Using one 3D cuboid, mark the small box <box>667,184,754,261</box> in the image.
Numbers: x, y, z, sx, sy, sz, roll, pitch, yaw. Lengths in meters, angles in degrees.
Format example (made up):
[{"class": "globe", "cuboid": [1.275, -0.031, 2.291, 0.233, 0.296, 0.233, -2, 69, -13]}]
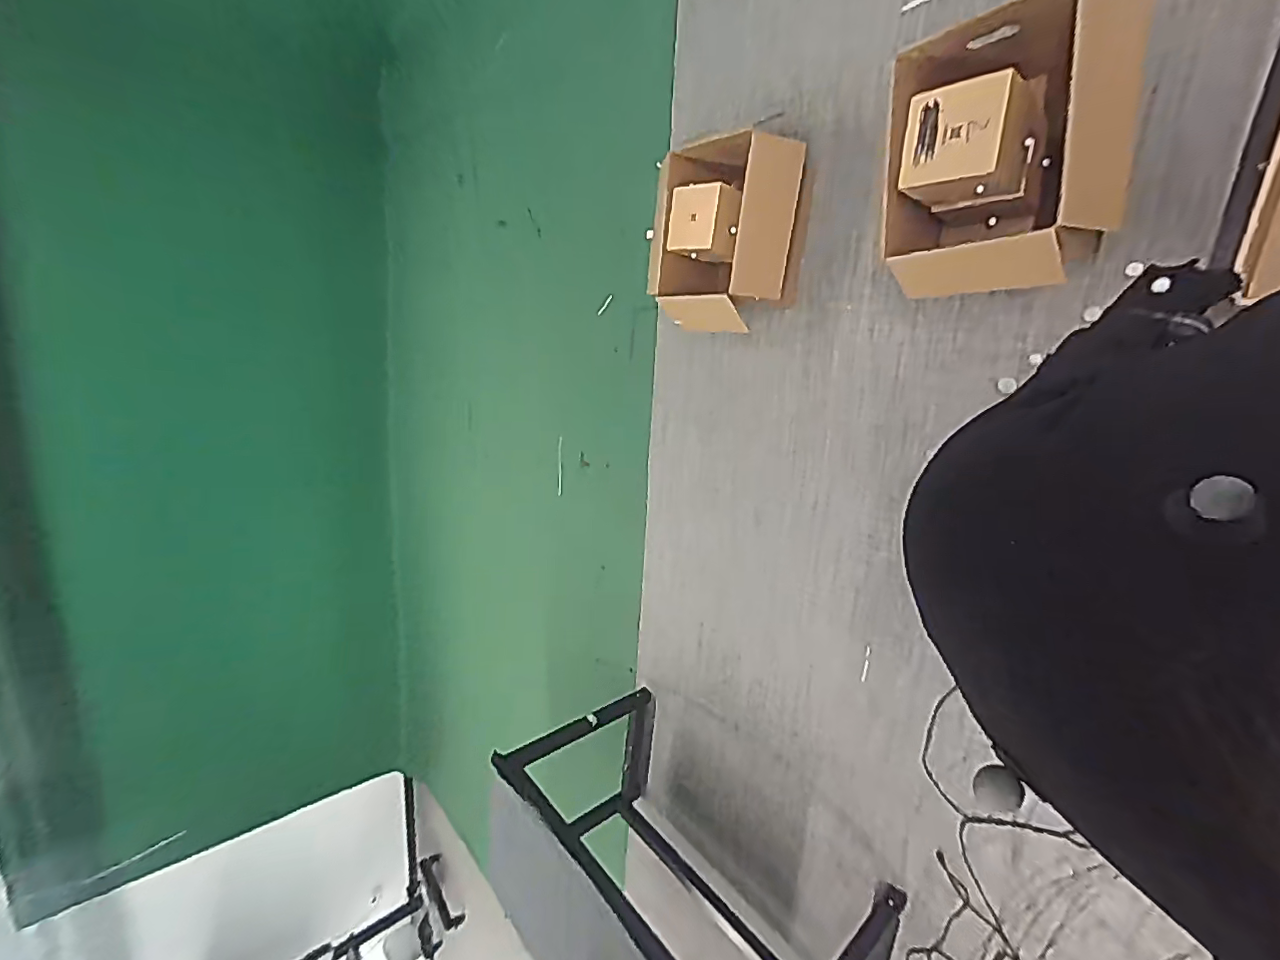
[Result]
[{"class": "small box", "cuboid": [0.204, -0.732, 1.551, 0.179, 0.176, 0.168, 21, 110, 44]}]
